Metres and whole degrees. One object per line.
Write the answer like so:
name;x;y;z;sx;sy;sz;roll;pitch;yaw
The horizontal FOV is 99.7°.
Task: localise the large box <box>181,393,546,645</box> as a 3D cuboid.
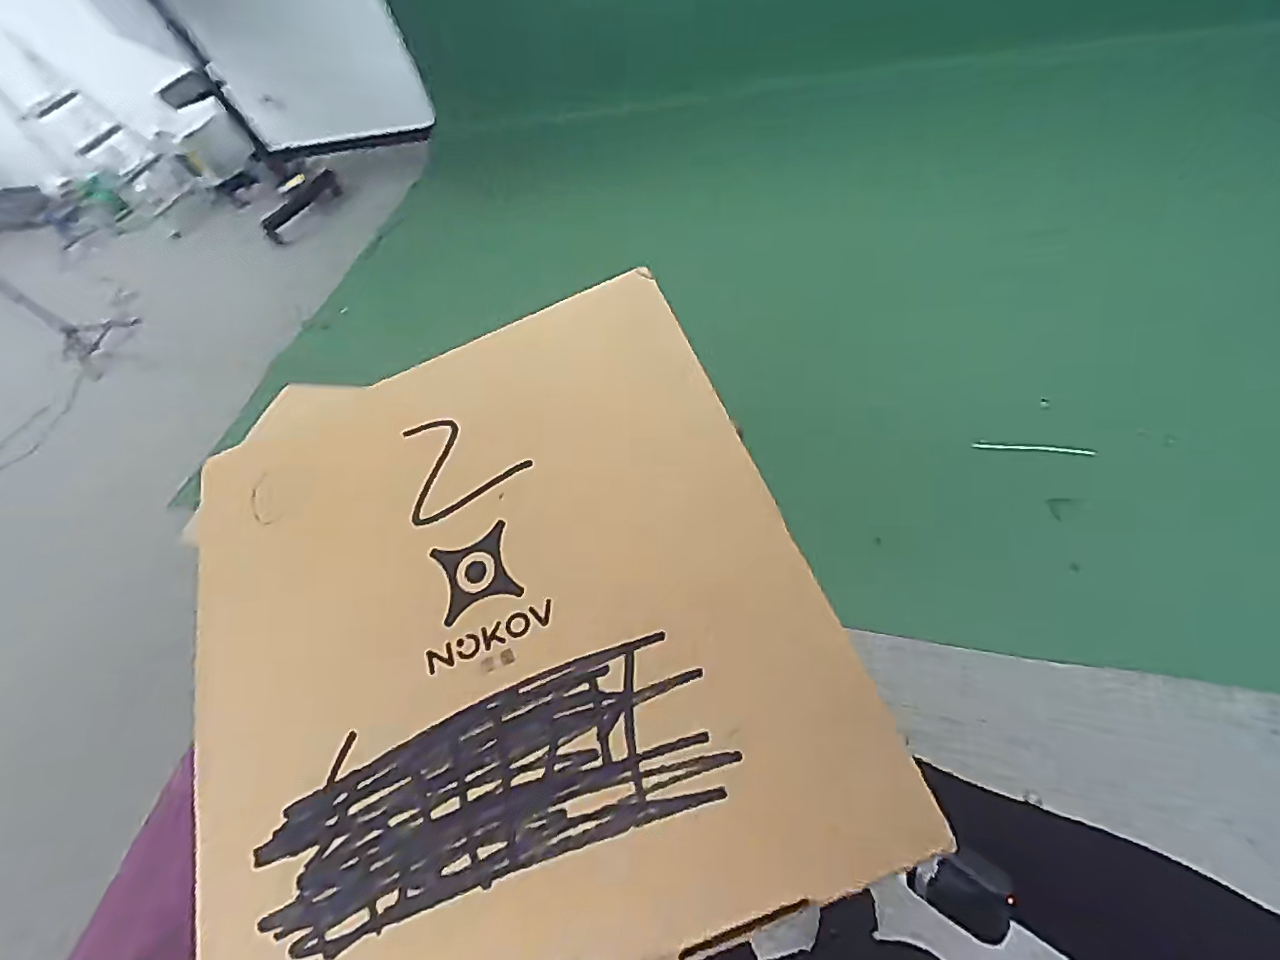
large box;-0.437;0.068;0.945;0.408;0.320;0.320;5;61;18
